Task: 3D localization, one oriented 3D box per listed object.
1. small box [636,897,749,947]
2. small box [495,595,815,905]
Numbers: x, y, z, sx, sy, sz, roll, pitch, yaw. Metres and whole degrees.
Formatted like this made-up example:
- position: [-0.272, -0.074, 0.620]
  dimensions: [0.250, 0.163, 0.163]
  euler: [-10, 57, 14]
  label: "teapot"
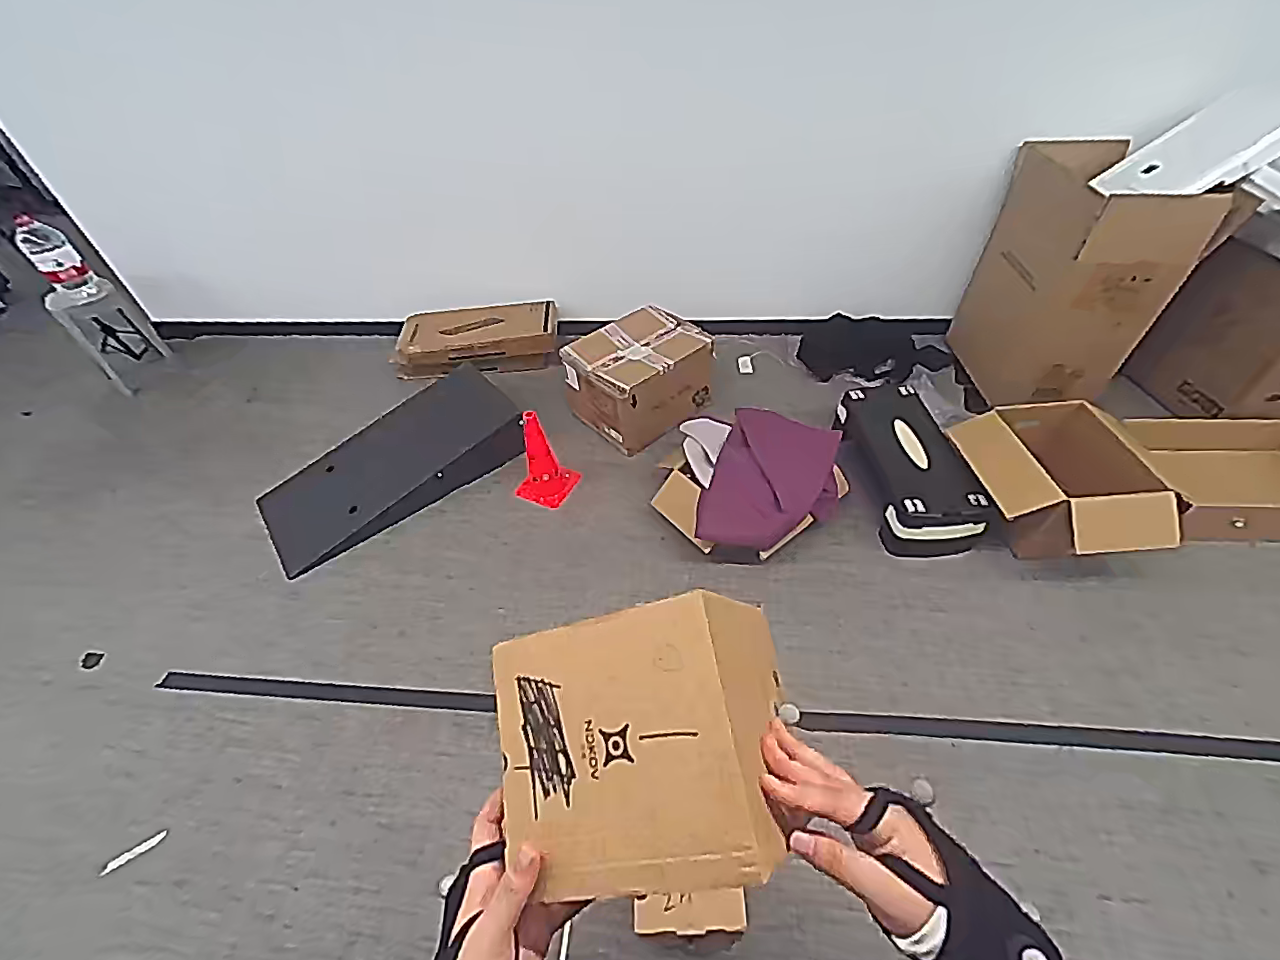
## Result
- position: [0.080, 0.647, 0.891]
  dimensions: [0.168, 0.176, 0.179]
  euler: [-4, 46, 3]
  label: "small box"
- position: [0.015, 0.195, 0.416]
  dimensions: [0.179, 0.176, 0.168]
  euler: [-20, 67, 20]
  label: "small box"
